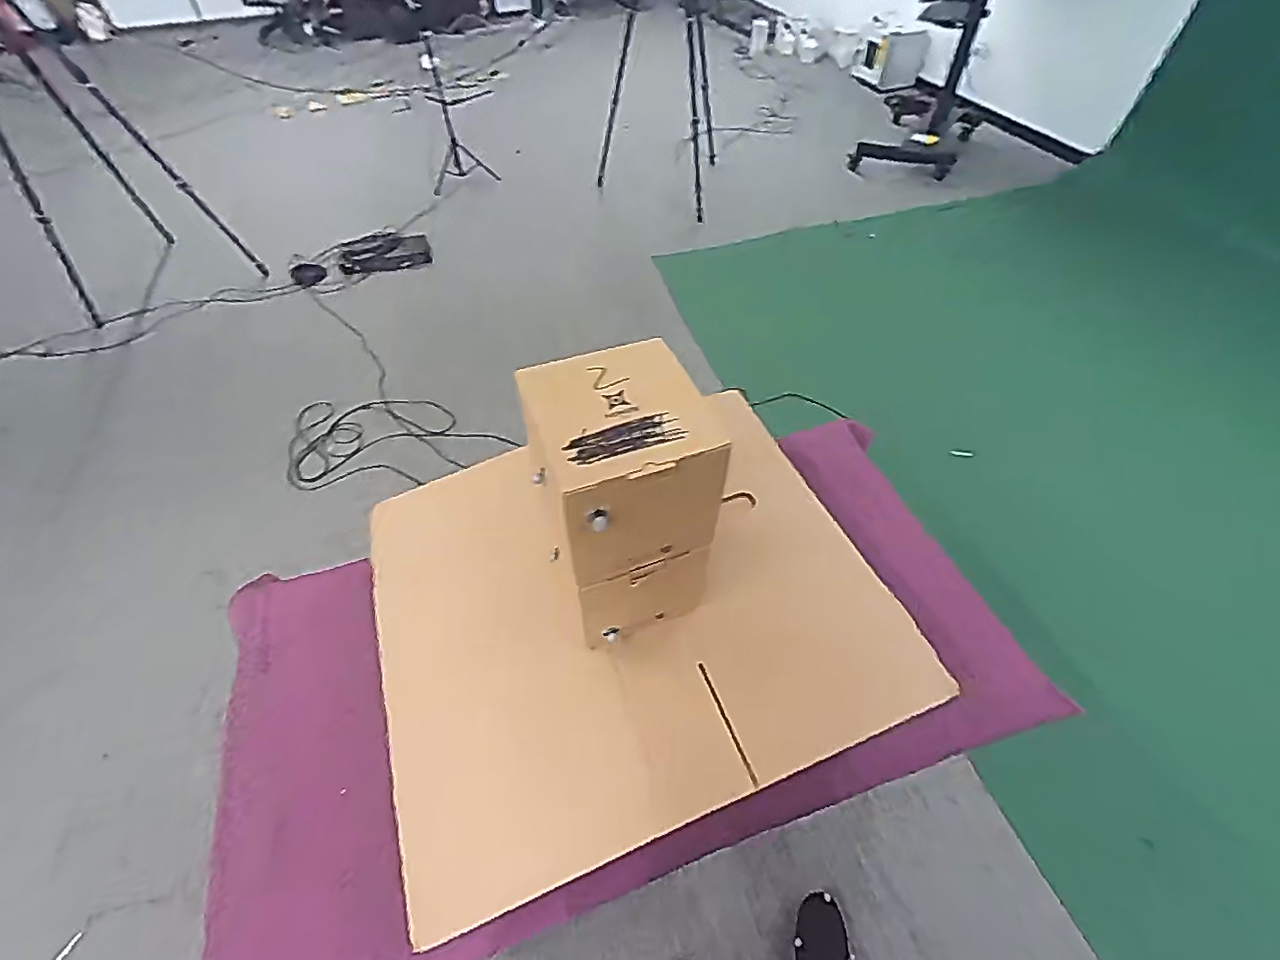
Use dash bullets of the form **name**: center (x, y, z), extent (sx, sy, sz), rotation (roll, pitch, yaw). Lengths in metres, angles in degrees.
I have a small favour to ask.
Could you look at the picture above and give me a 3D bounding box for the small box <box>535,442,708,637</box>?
- **small box**: center (-0.026, 0.084, 0.707), extent (0.168, 0.176, 0.179), rotation (-17, 53, -14)
